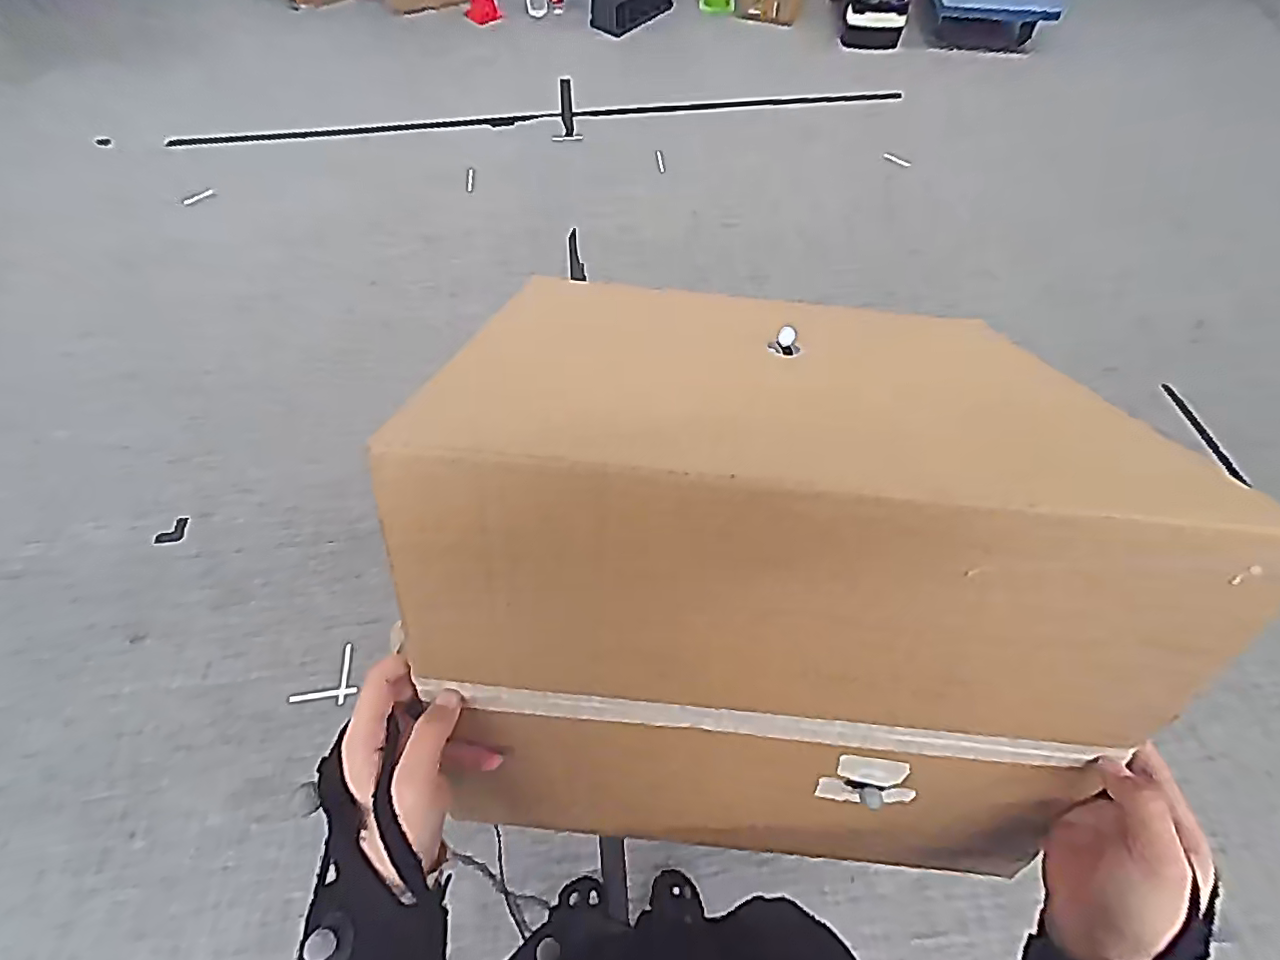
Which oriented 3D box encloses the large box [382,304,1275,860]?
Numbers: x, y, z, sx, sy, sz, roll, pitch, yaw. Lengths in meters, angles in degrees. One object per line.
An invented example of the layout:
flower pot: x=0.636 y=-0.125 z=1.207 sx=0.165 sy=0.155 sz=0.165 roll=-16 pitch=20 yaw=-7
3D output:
large box: x=0.078 y=0.057 z=0.442 sx=0.408 sy=0.320 sz=0.320 roll=5 pitch=34 yaw=0
